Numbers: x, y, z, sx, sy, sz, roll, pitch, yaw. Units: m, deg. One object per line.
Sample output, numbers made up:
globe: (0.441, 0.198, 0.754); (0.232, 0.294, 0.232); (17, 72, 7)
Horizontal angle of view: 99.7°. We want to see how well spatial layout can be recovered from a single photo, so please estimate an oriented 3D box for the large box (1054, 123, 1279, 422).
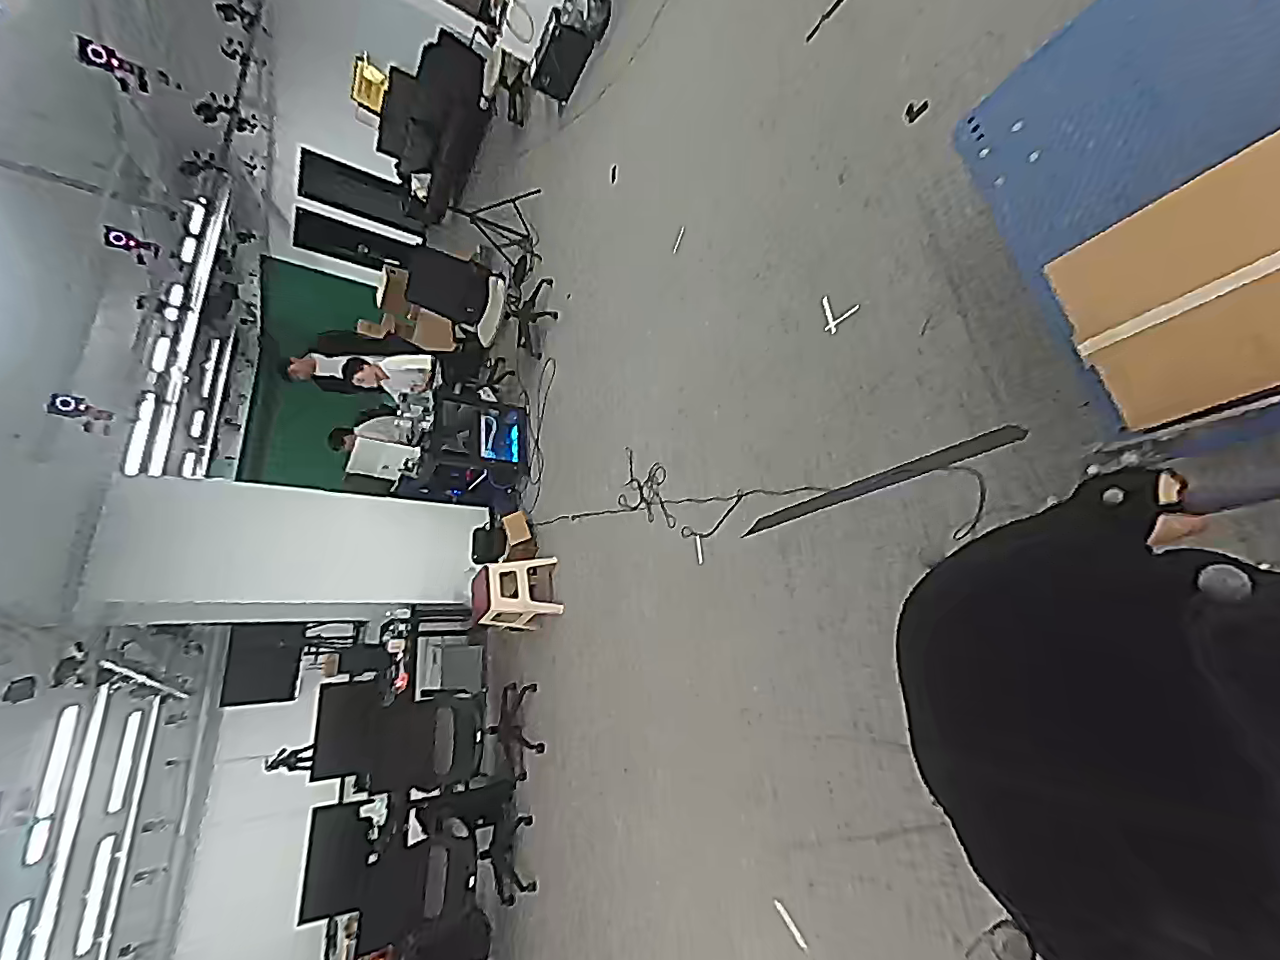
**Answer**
large box: (0.965, -0.316, 0.823); (0.408, 0.320, 0.320); (-33, 71, 49)
